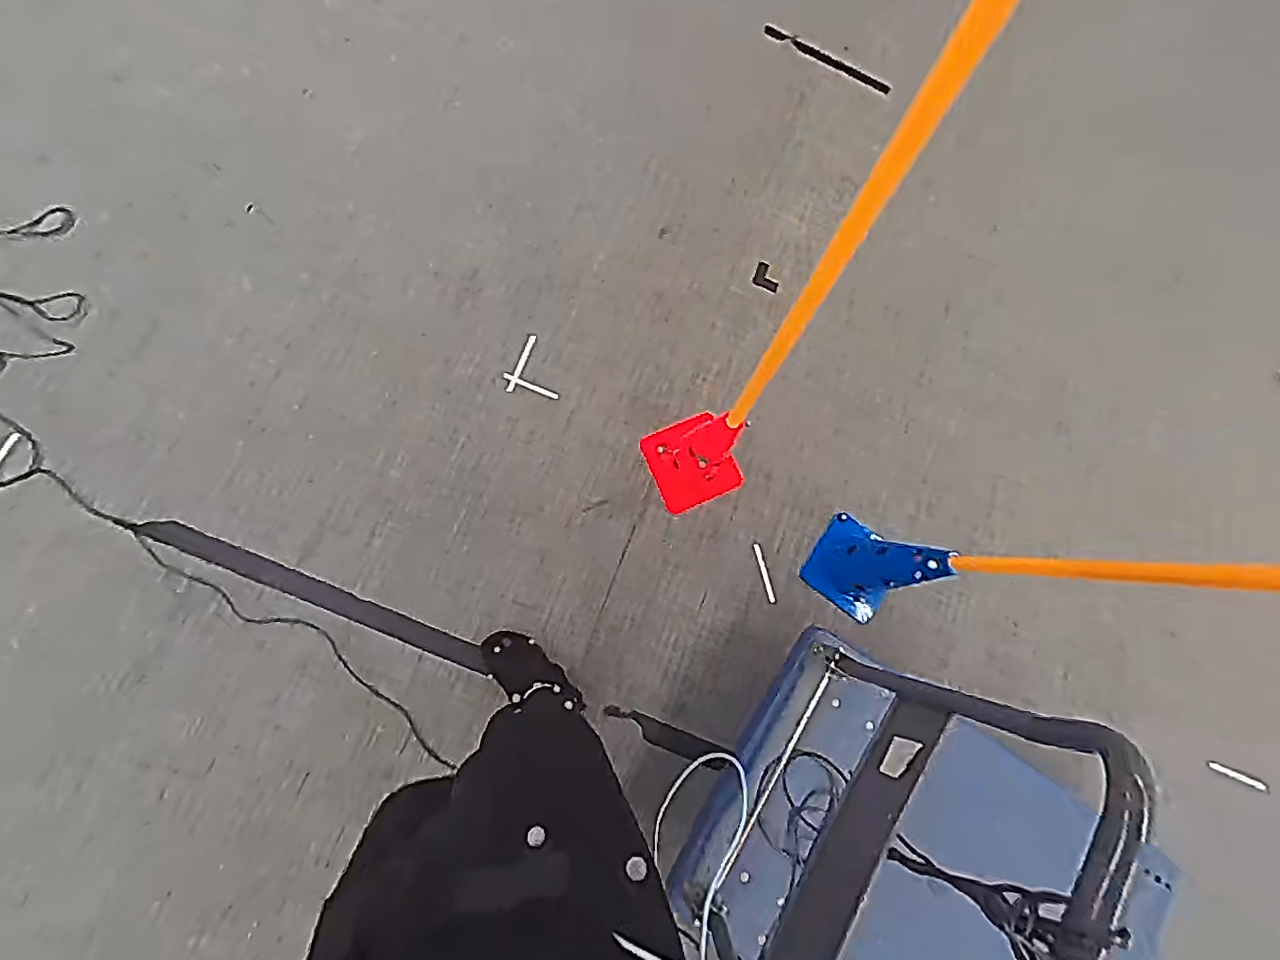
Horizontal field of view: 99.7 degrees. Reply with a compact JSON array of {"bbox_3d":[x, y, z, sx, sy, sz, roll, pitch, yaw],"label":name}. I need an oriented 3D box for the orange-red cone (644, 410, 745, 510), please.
[{"bbox_3d":[0.146,-0.074,1.100,0.198,0.360,0.199,-21,84,-9],"label":"orange-red cone"}]

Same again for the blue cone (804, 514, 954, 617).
[{"bbox_3d":[0.516,0.171,1.113,0.192,0.380,0.193,38,78,2],"label":"blue cone"}]
